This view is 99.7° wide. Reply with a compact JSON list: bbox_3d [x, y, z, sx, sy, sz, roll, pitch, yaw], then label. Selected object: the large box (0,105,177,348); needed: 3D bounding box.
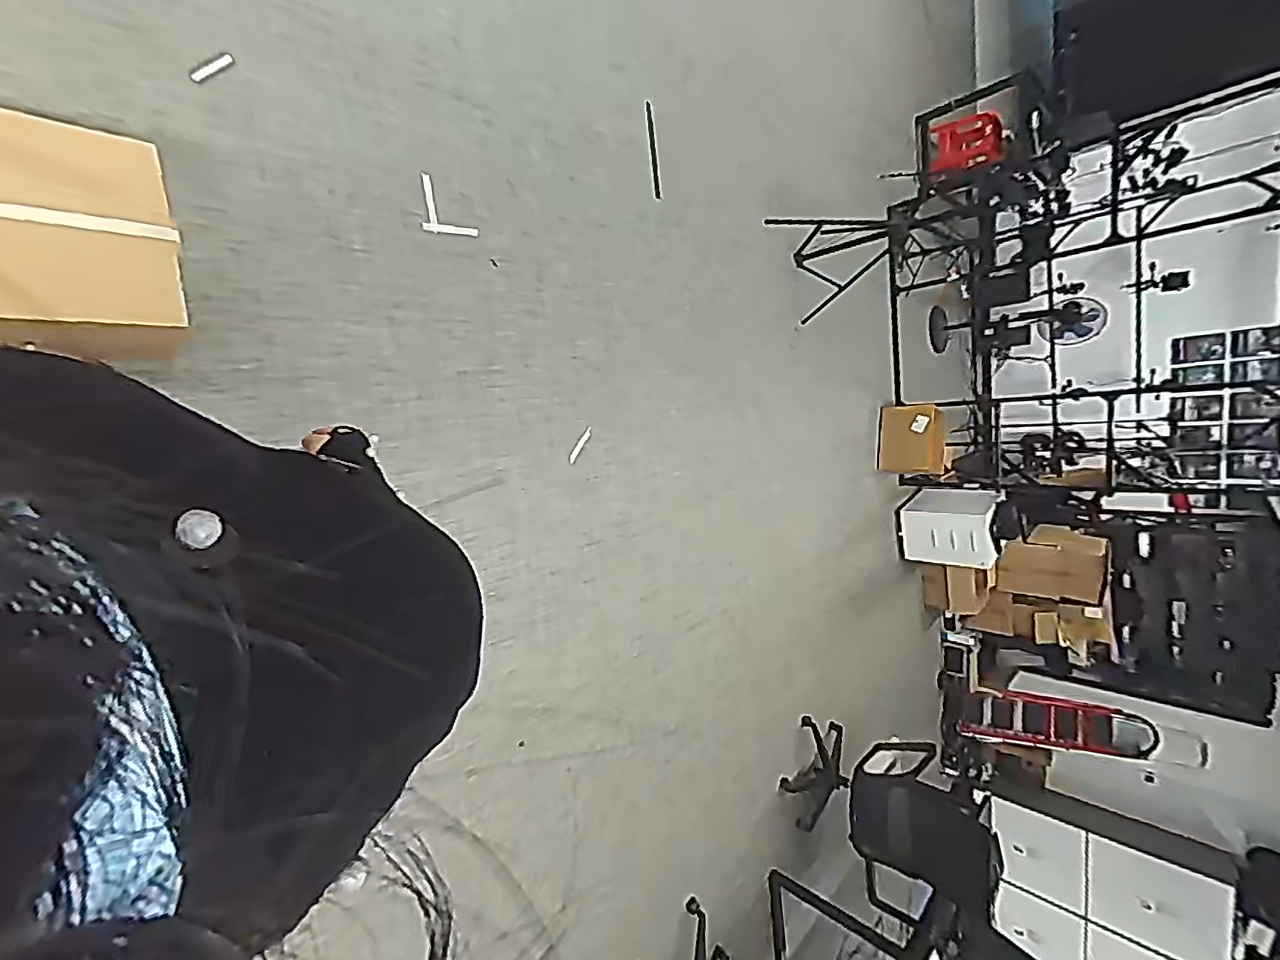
[{"bbox_3d":[-1.069,-0.400,0.896,0.408,0.320,0.320,-12,96,-45],"label":"large box"}]
